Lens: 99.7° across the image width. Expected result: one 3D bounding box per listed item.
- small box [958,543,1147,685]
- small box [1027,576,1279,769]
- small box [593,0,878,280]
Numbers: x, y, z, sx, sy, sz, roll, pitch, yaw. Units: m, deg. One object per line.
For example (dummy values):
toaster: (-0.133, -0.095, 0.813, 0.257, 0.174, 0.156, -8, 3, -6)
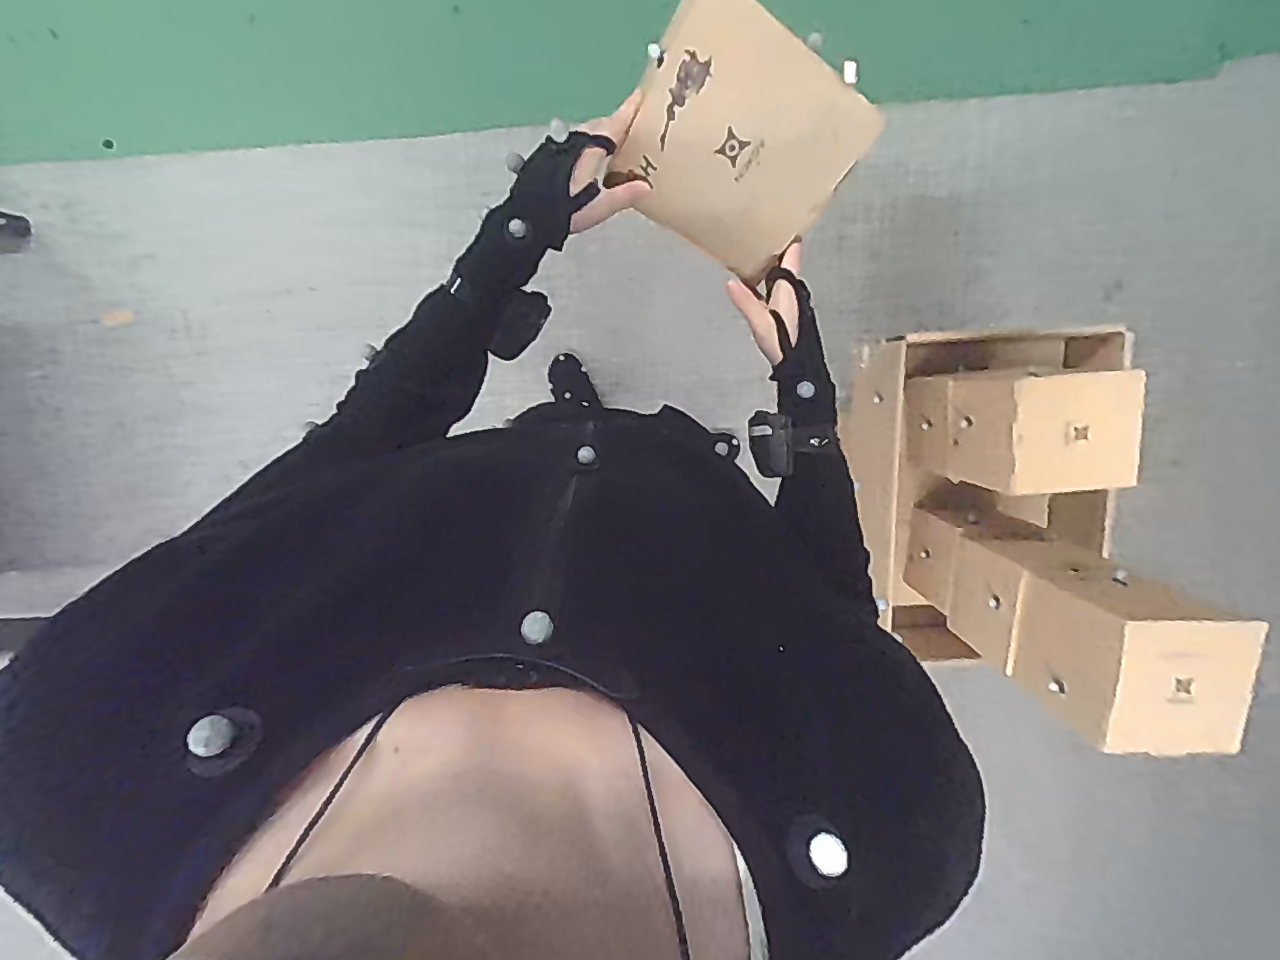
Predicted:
small box: (0.636, 0.204, 0.857, 0.168, 0.176, 0.179, 1, 100, 2)
small box: (0.641, 0.237, 0.697, 0.168, 0.176, 0.179, 1, 99, 1)
small box: (0.076, -0.327, 0.499, 0.179, 0.176, 0.168, 25, 128, -21)
